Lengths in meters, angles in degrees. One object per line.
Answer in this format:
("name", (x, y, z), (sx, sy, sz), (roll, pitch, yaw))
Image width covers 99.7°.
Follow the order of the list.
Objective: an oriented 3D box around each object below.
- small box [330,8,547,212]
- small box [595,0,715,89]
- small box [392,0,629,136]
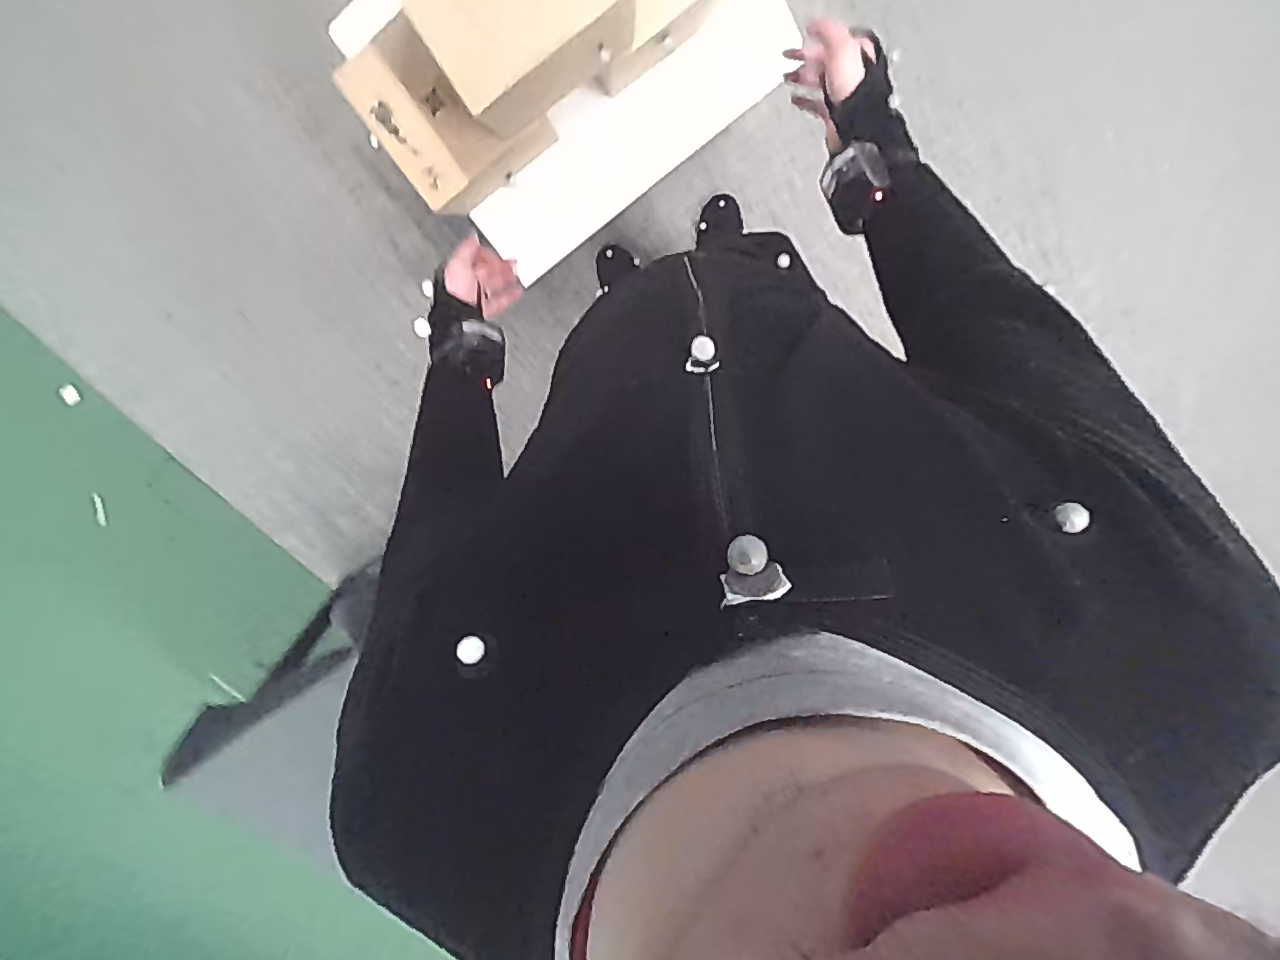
("small box", (-0.231, -0.463, 0.676), (0.179, 0.176, 0.168), (-34, 112, 12))
("small box", (-0.013, -0.592, 0.617), (0.179, 0.176, 0.168), (-31, 113, 12))
("small box", (-0.123, -0.458, 0.500), (0.179, 0.176, 0.168), (-31, 112, 14))
